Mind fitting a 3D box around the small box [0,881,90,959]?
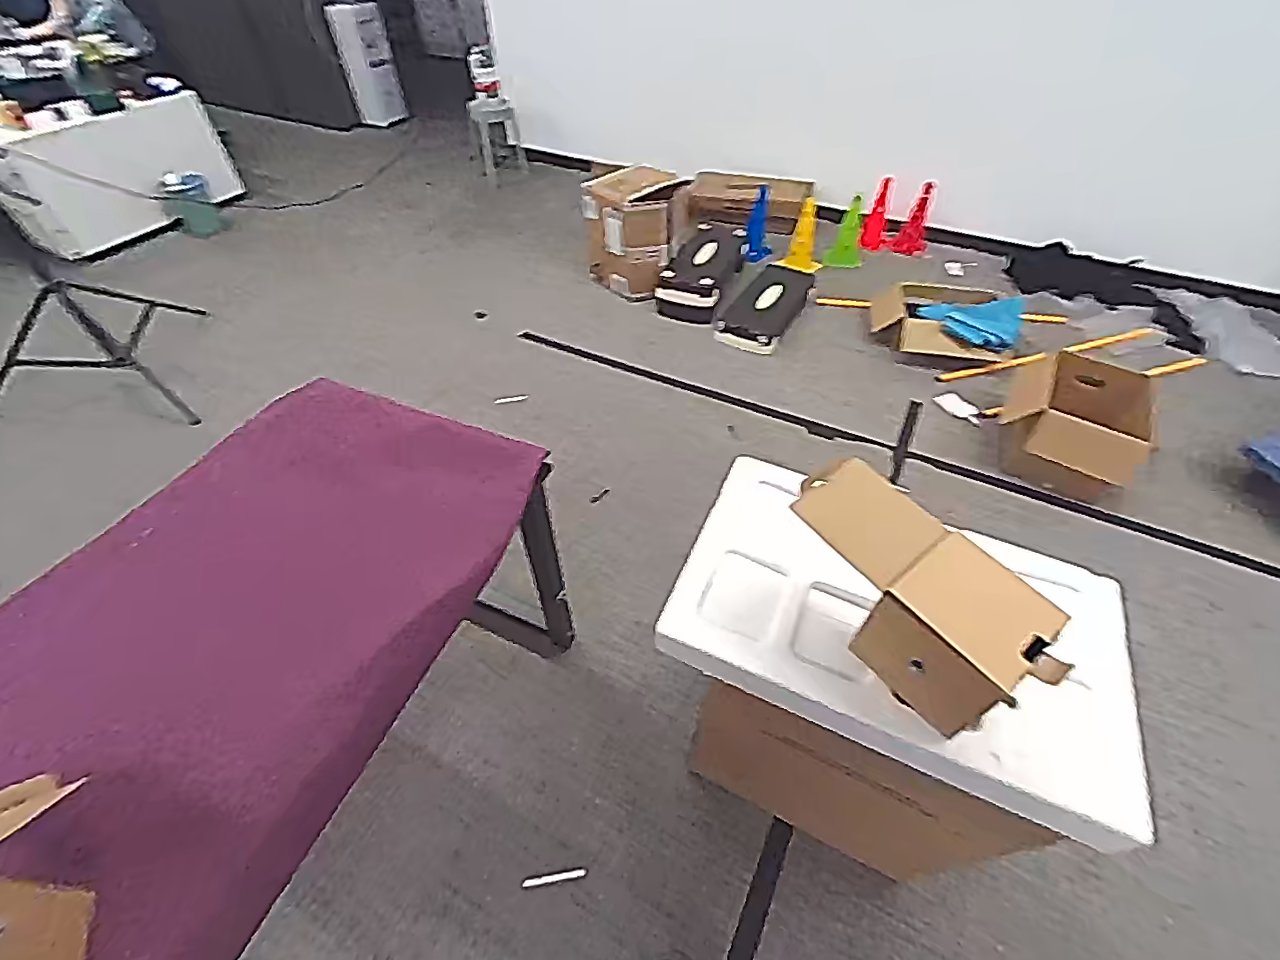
[{"bbox_3d":[-0.648,0.490,0.472,0.168,0.176,0.179,-20,50,-15],"label":"small box"}]
